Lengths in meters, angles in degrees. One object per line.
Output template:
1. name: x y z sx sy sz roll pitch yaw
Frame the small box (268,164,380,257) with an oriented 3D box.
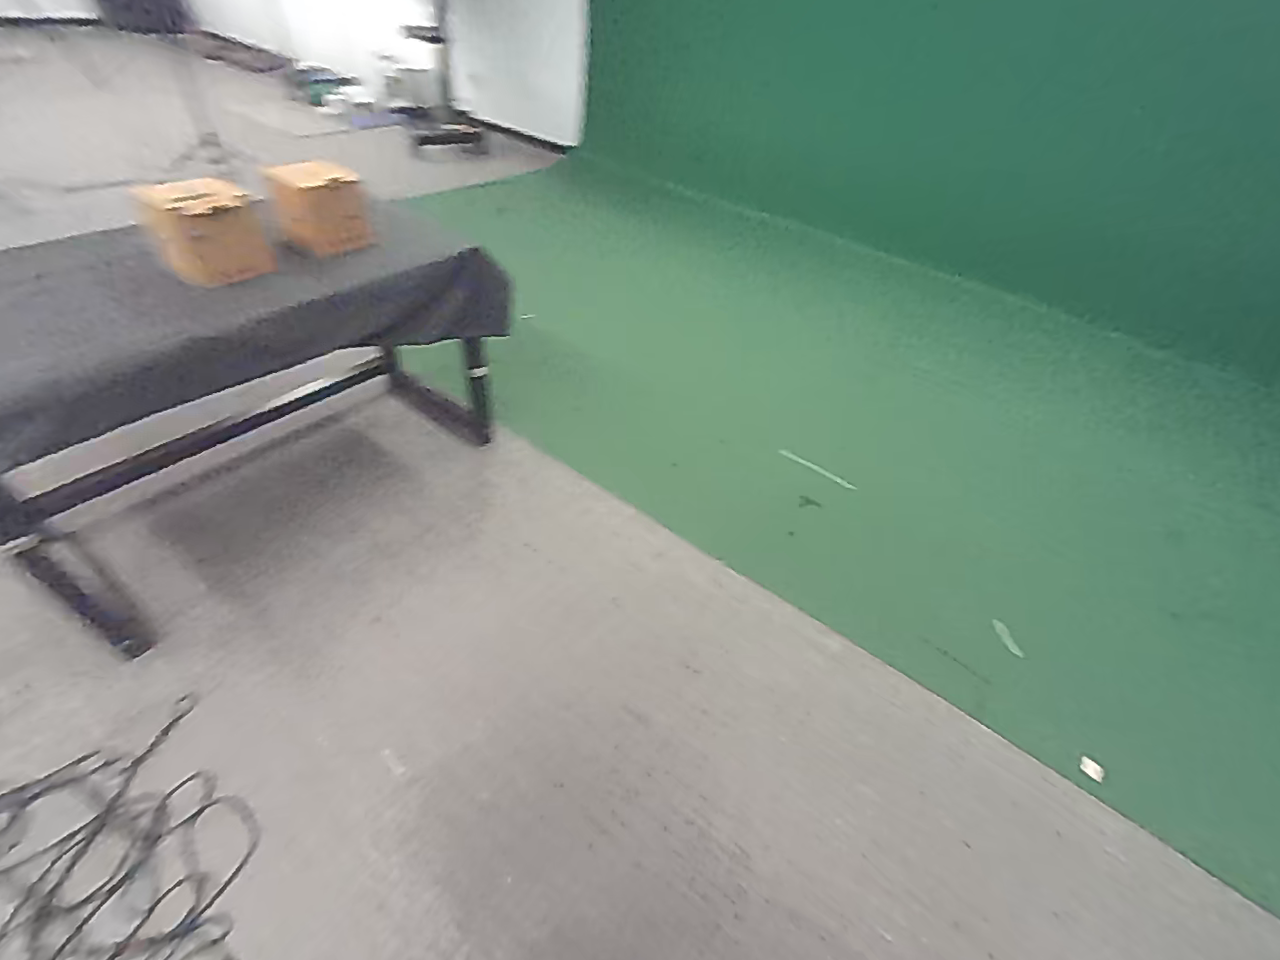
1. small box: -0.812 -0.698 1.407 0.179 0.176 0.168 29 46 22
